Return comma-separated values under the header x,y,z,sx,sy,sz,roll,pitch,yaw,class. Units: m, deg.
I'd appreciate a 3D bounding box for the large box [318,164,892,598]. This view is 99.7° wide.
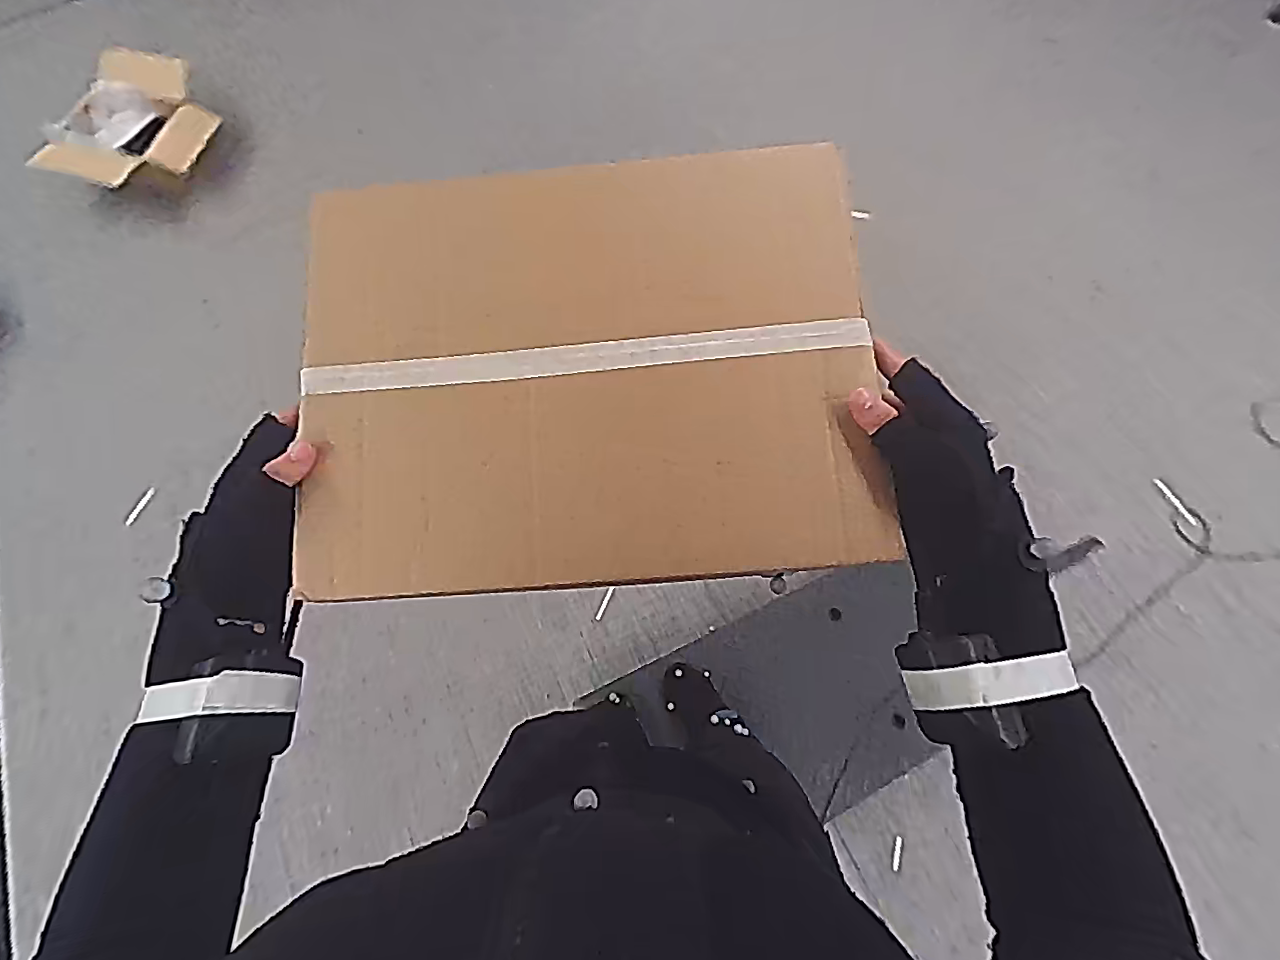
x,y,z,sx,sy,sz,roll,pitch,yaw,class
-0.026,-0.056,0.540,0.408,0.320,0.320,-3,79,2,large box

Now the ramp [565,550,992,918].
x,y,z,sx,sy,sz,roll,pitch,yaw,class
0.363,0.552,1.355,0.991,0.206,0.509,-27,70,-5,ramp
